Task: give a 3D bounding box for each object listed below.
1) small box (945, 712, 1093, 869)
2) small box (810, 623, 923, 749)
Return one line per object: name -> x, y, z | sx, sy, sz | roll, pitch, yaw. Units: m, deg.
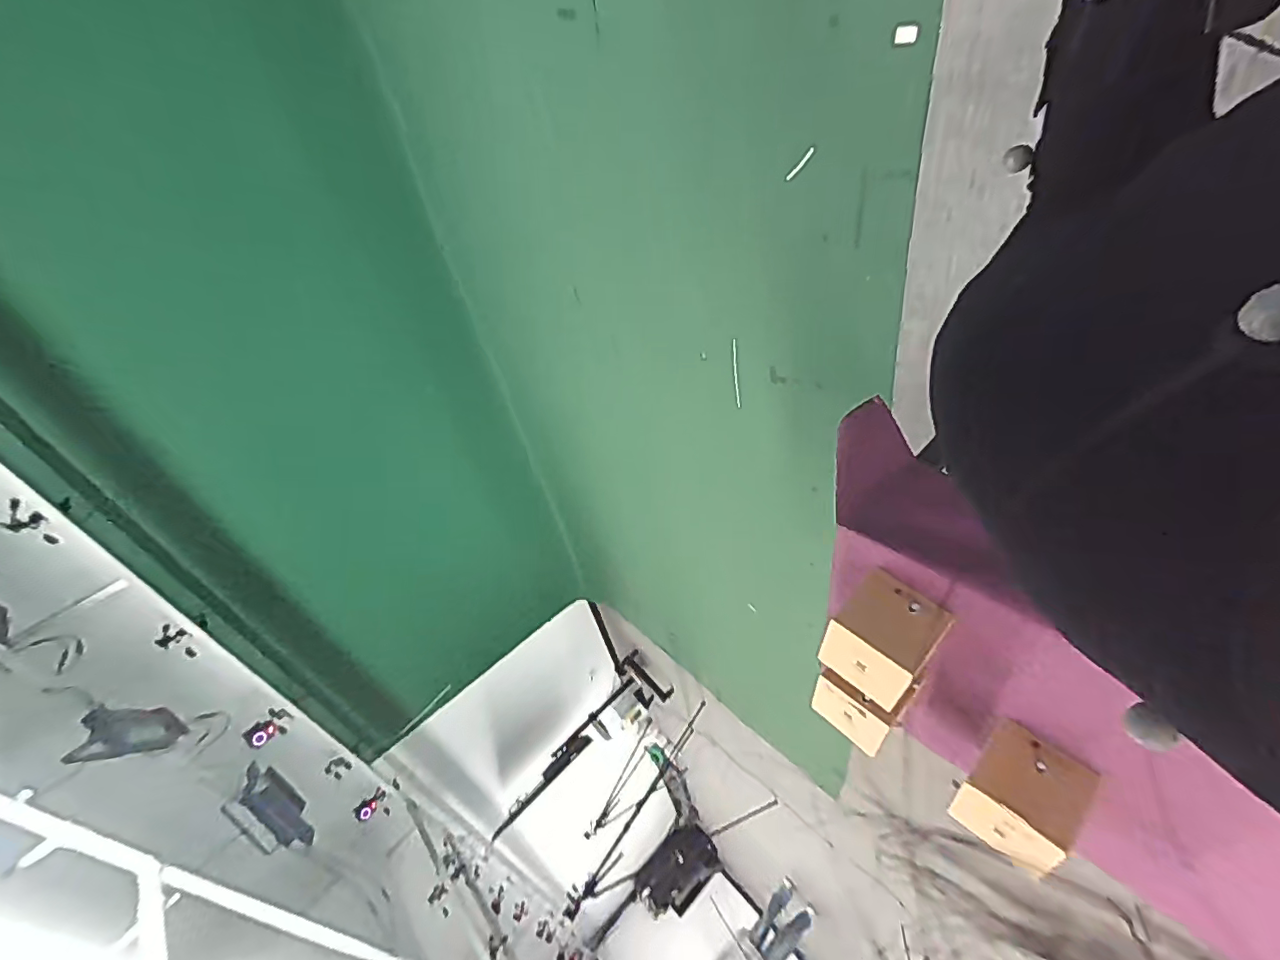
small box -> 0.727, 0.593, 1.044 | 0.168, 0.176, 0.179 | 31, 146, 38
small box -> 0.516, 0.468, 1.238 | 0.168, 0.176, 0.179 | 34, 149, 34
